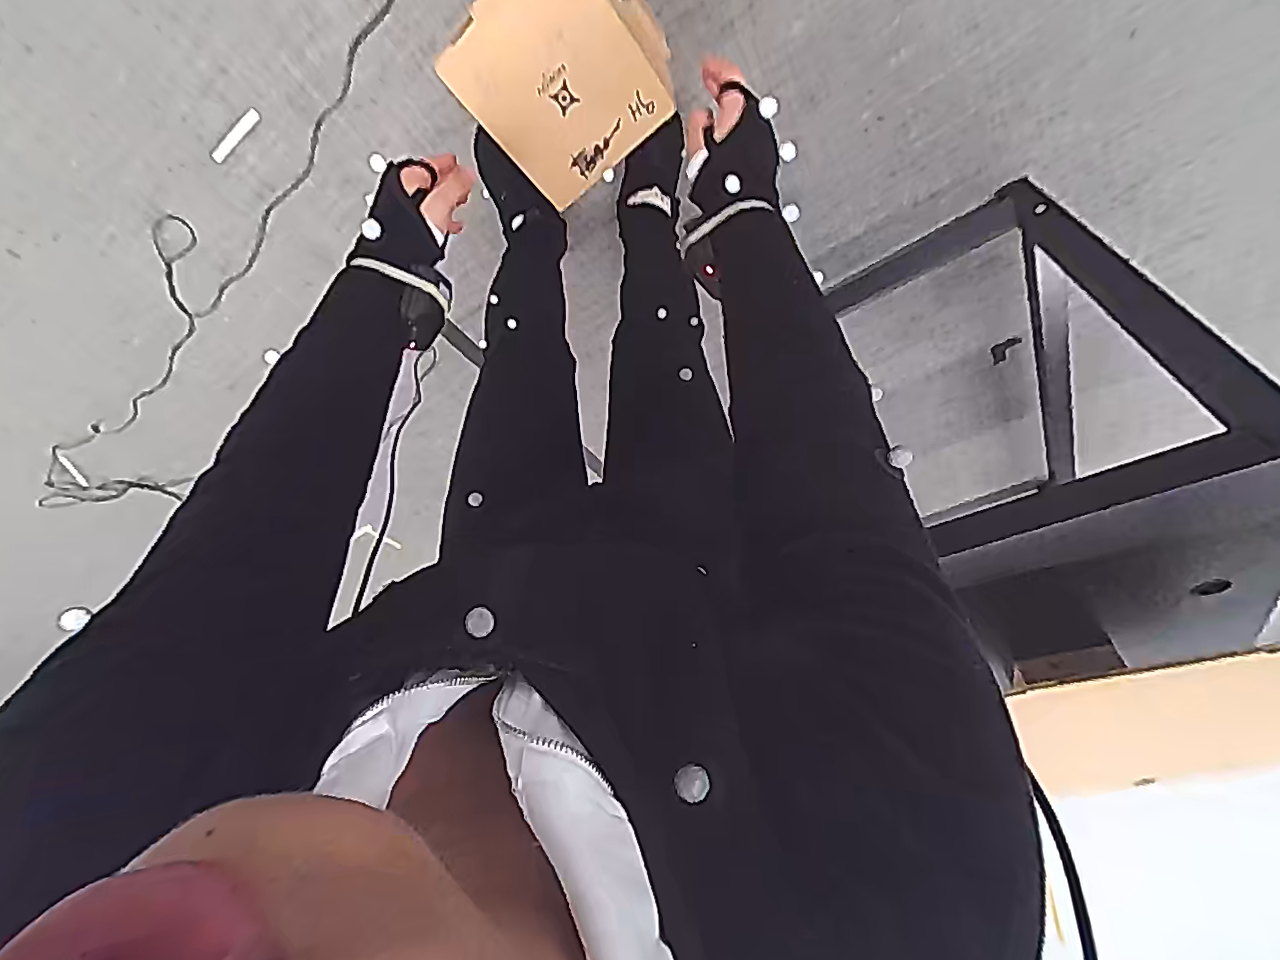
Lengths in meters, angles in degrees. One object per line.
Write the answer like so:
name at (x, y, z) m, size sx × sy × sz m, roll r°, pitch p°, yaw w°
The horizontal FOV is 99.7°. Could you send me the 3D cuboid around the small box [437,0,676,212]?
small box at (-0.082, -0.439, 0.581) m, size 0.168 × 0.176 × 0.179 m, roll -28°, pitch 133°, yaw 26°
